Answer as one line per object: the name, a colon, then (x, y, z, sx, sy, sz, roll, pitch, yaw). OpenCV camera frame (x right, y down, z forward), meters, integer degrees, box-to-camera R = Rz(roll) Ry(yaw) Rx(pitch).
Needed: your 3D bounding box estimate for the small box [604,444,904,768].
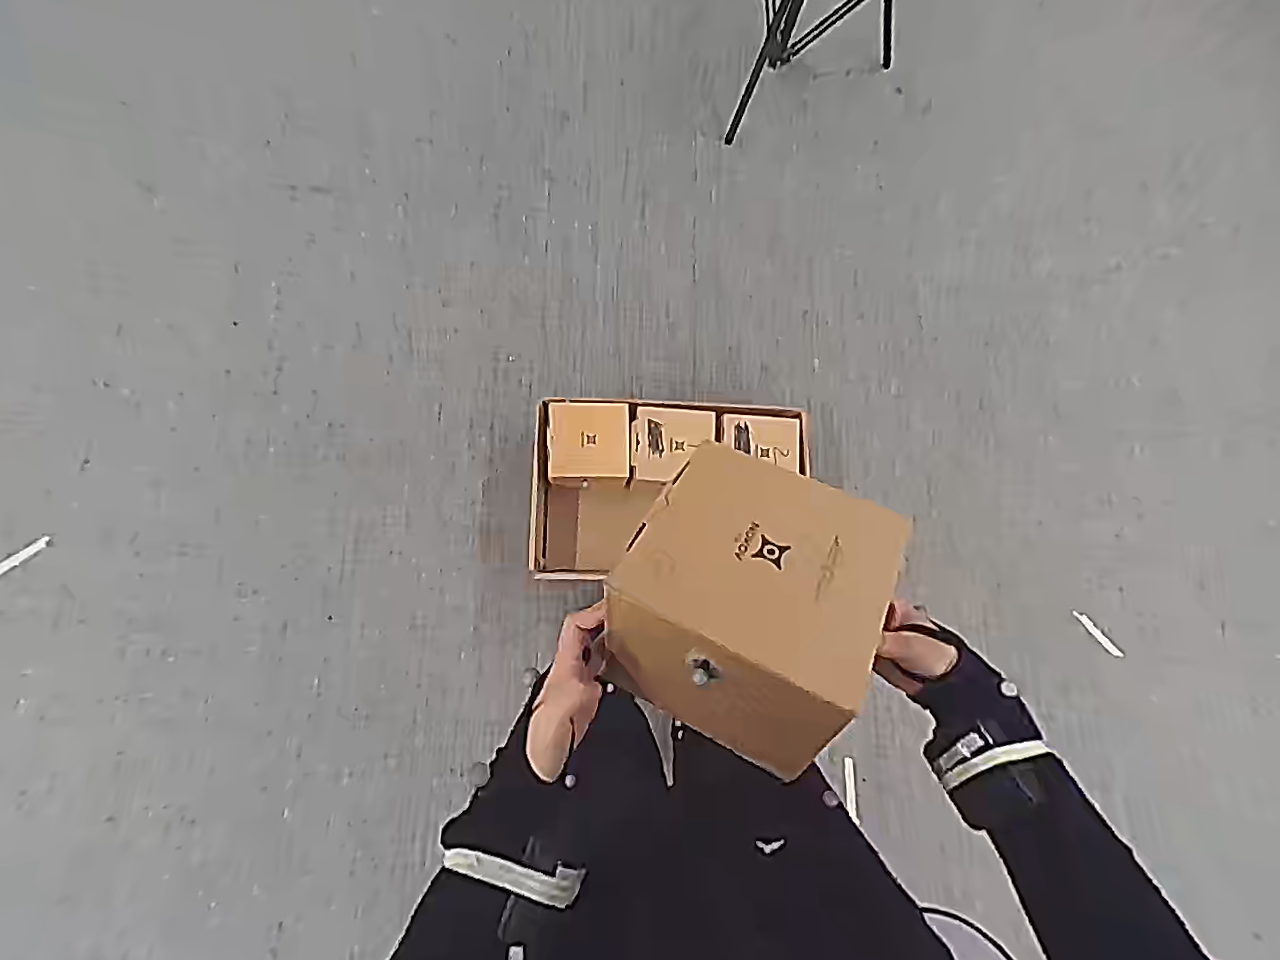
small box: (0.086, 0.104, 0.446, 0.179, 0.176, 0.168, 22, 50, 17)
